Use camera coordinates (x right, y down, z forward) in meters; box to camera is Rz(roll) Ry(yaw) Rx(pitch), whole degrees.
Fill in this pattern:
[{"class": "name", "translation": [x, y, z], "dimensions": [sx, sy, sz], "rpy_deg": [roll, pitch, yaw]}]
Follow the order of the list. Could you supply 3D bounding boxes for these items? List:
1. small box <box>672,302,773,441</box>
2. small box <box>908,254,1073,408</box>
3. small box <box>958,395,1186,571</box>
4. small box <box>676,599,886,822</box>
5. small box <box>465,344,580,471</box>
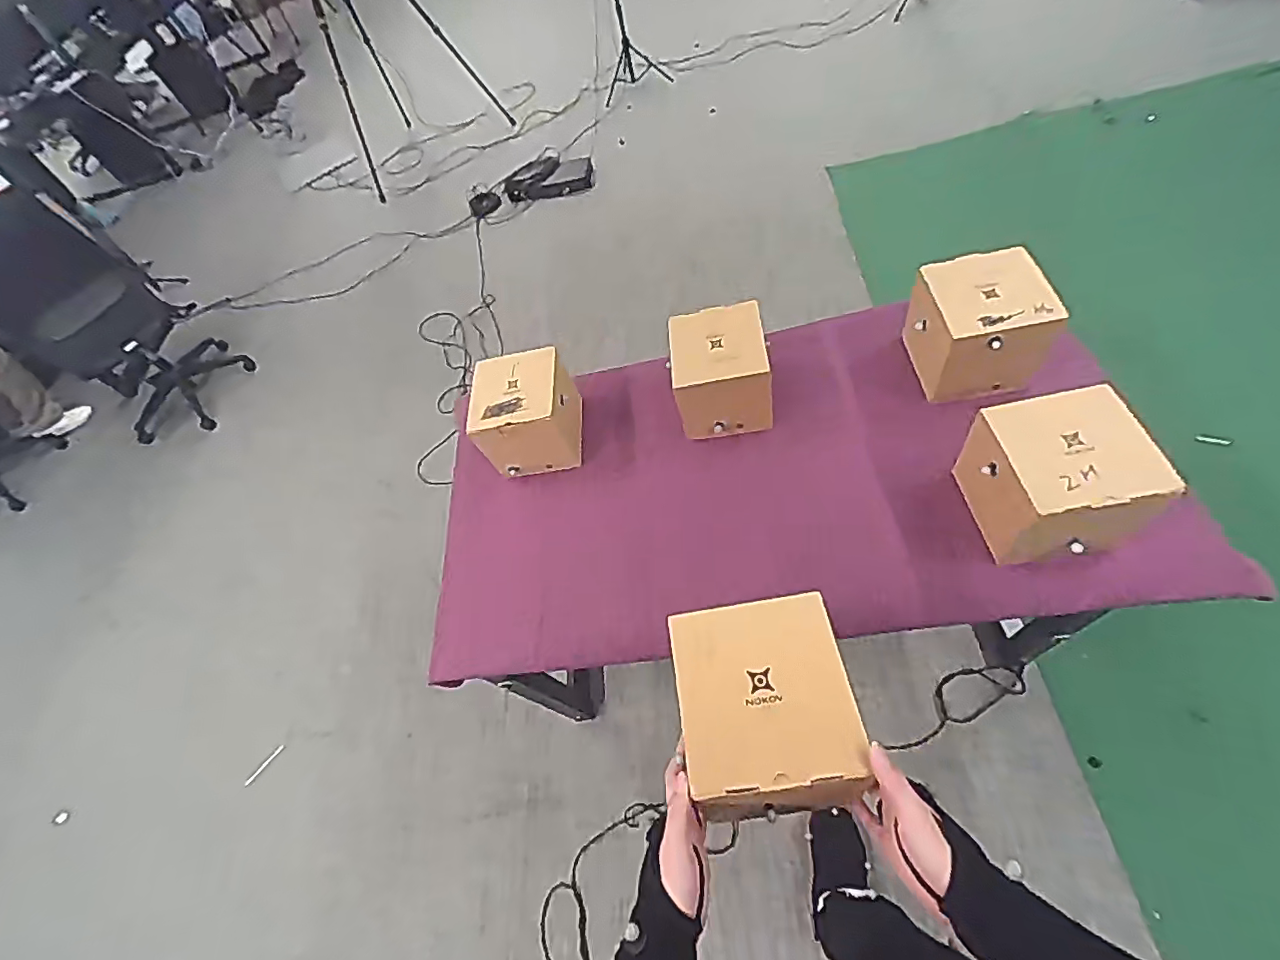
[{"class": "small box", "translation": [0.152, -0.195, 1.000], "dimensions": [0.168, 0.176, 0.179], "rpy_deg": [-7, 60, 11]}, {"class": "small box", "translation": [0.579, -0.249, 0.926], "dimensions": [0.168, 0.176, 0.179], "rpy_deg": [-9, 58, 10]}, {"class": "small box", "translation": [0.583, 0.010, 0.765], "dimensions": [0.168, 0.176, 0.179], "rpy_deg": [-10, 58, 9]}, {"class": "small box", "translation": [0.136, 0.252, 0.584], "dimensions": [0.168, 0.176, 0.179], "rpy_deg": [-11, 53, 4]}, {"class": "small box", "translation": [-0.217, -0.131, 1.047], "dimensions": [0.168, 0.176, 0.179], "rpy_deg": [-8, 59, 8]}]
